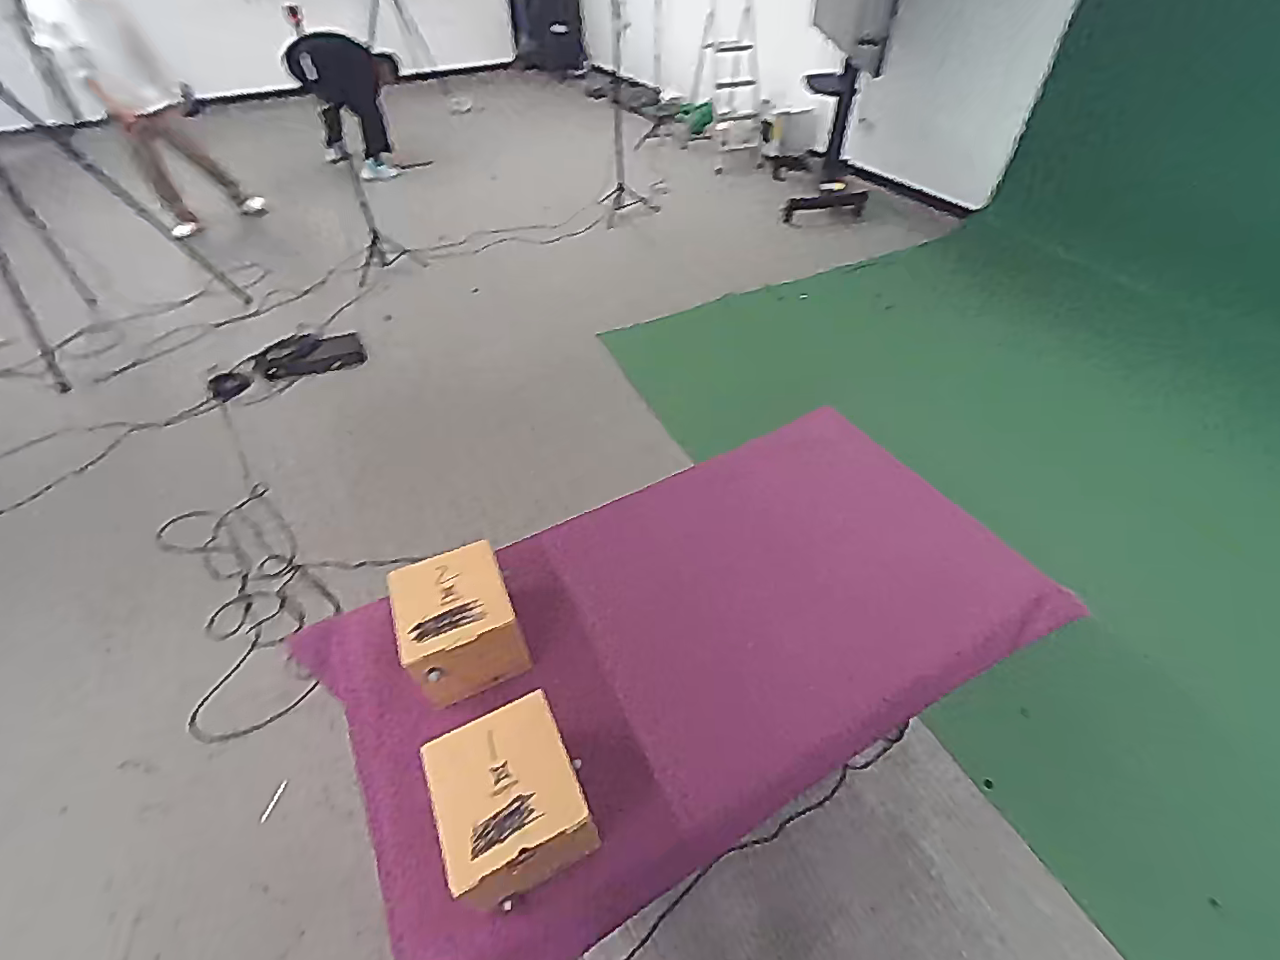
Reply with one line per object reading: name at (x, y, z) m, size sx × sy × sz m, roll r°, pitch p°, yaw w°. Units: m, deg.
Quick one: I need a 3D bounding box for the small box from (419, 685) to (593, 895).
small box at (-0.171, 0.416, 0.720) m, size 0.168 × 0.176 × 0.179 m, roll -21°, pitch 49°, yaw -18°
